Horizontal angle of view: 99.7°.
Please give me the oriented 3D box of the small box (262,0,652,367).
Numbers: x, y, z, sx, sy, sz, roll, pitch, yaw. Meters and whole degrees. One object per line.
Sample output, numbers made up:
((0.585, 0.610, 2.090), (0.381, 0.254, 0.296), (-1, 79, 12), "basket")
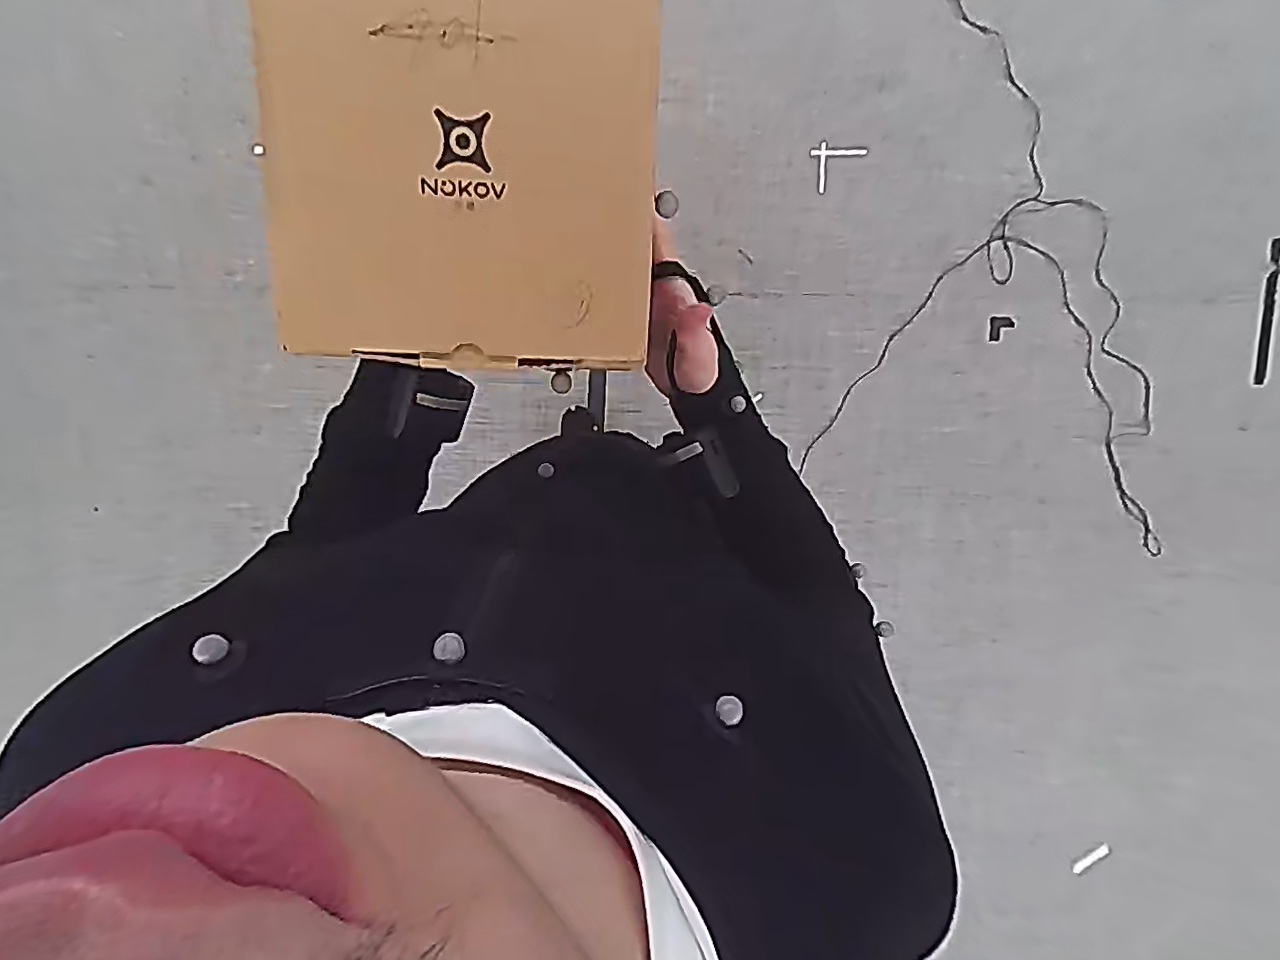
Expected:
((-0.083, -0.160, 0.320), (0.168, 0.176, 0.179), (1, 100, -4), "small box")
